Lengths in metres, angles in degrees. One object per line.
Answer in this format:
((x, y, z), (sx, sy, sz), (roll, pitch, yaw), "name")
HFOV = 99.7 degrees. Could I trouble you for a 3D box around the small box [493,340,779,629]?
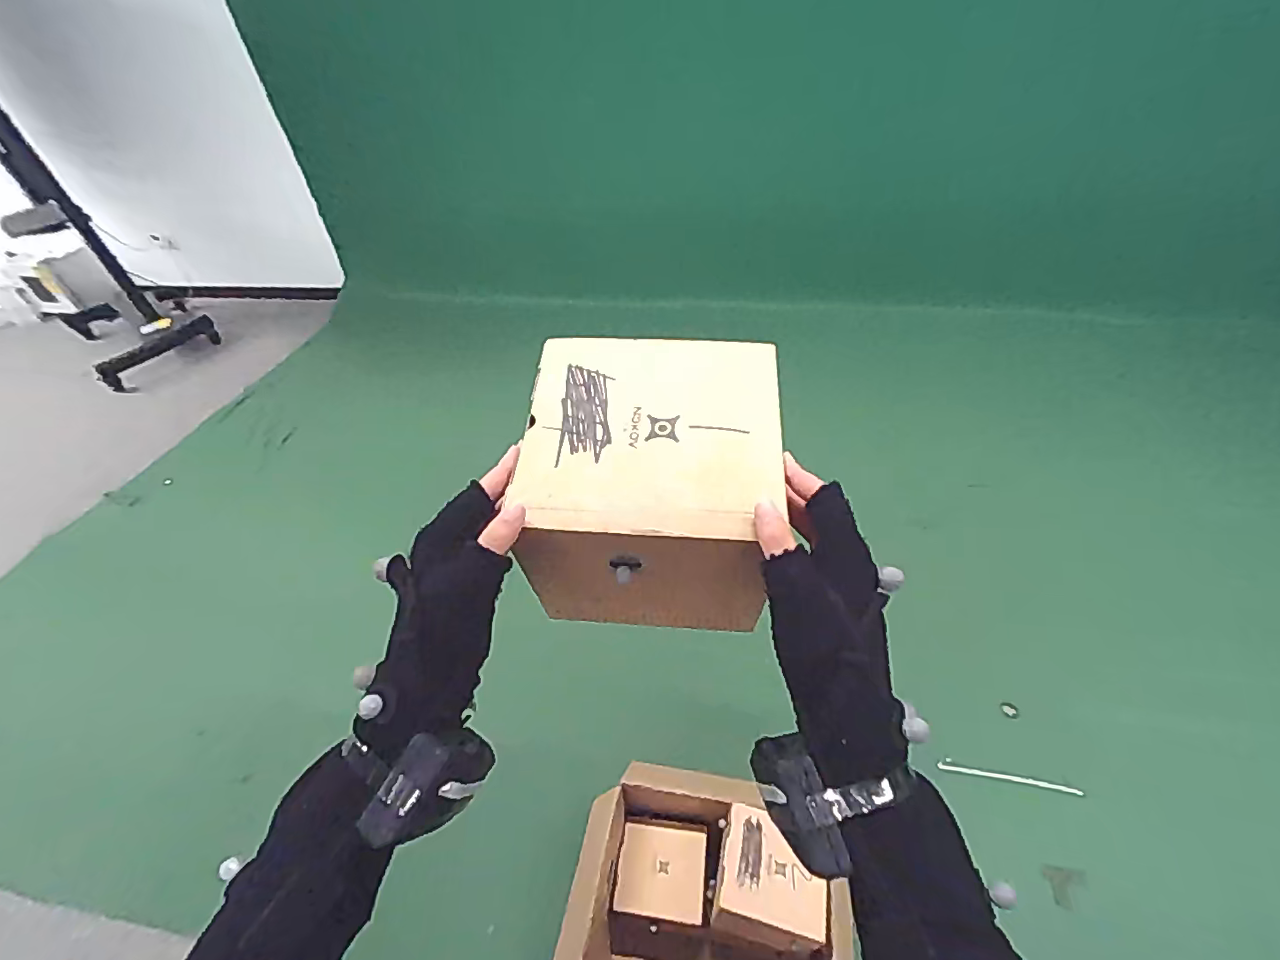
((0.007, 0.010, 0.430), (0.179, 0.176, 0.168), (3, 57, 5), "small box")
